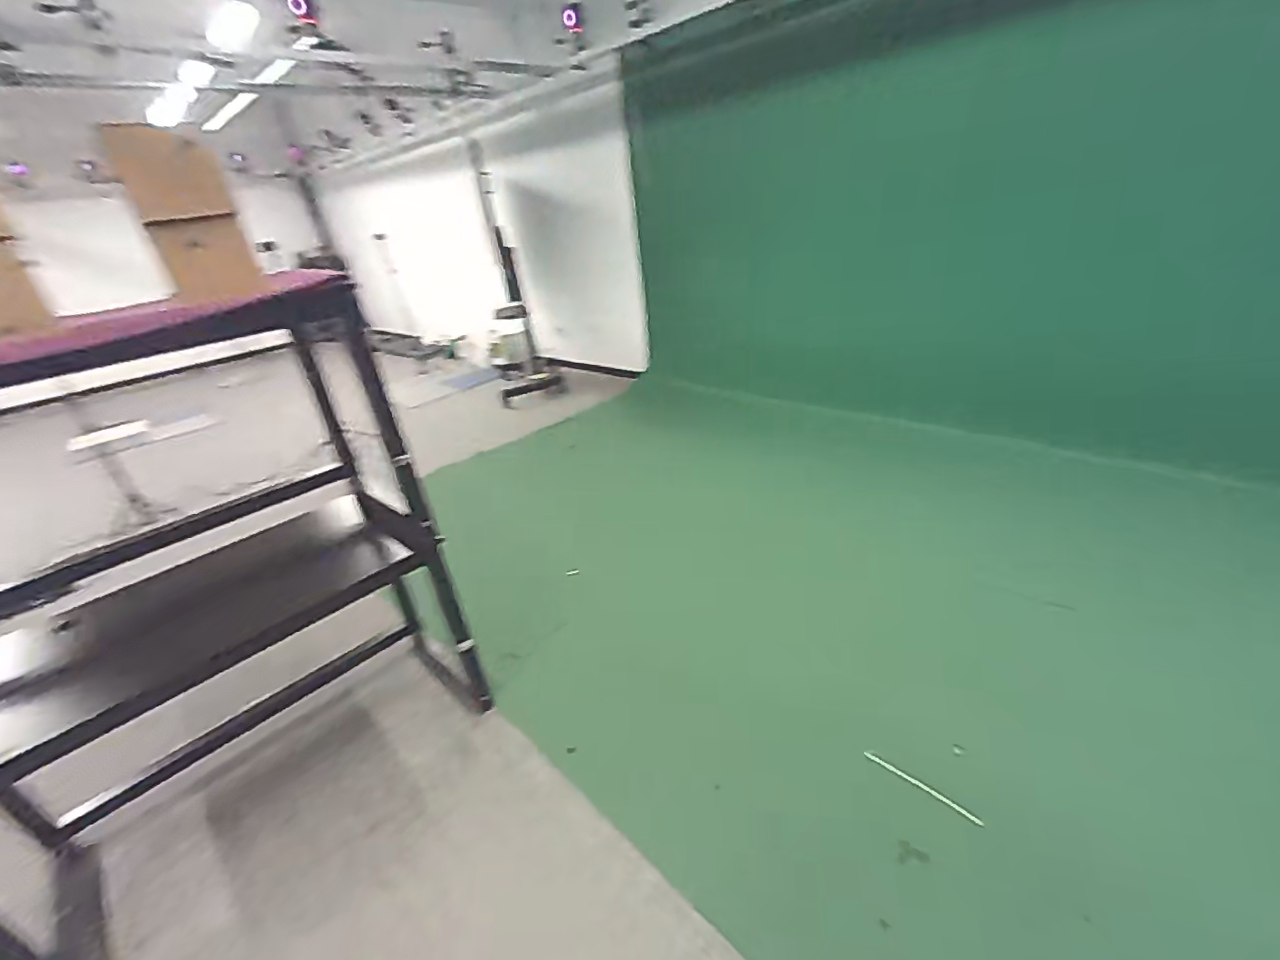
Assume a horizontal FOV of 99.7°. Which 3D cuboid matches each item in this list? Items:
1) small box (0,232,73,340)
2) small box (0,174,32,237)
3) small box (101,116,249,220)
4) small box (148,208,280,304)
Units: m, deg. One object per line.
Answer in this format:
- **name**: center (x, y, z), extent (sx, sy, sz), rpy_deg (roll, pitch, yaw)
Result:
- **small box**: center (-1.180, -0.344, 0.976), extent (0.168, 0.176, 0.179), rpy_deg (-27, 33, -35)
- **small box**: center (-1.181, -0.488, 0.900), extent (0.179, 0.176, 0.168), rpy_deg (-29, 34, -34)
- **small box**: center (-0.959, -0.635, 1.123), extent (0.179, 0.176, 0.168), rpy_deg (-29, 33, -34)
- **small box**: center (-0.945, -0.497, 1.208), extent (0.179, 0.176, 0.168), rpy_deg (-26, 32, -31)
